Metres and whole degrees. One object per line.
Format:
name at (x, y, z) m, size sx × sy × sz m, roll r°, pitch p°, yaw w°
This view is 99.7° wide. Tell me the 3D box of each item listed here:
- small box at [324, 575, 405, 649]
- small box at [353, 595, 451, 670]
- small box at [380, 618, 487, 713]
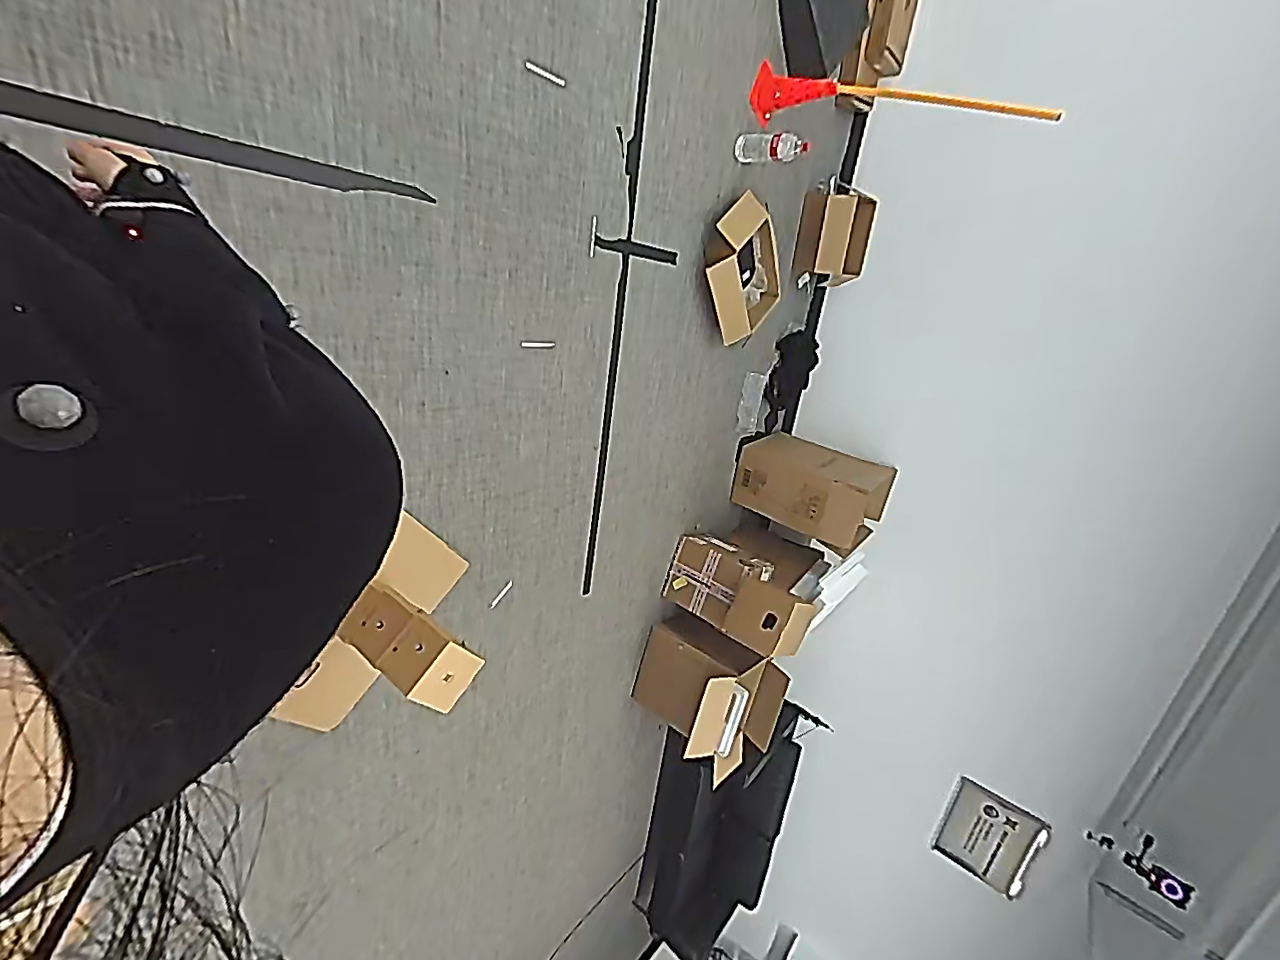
small box at (-0.820, 0.417, 1.663) m, size 0.168 × 0.176 × 0.179 m, roll -56°, pitch 143°, yaw -16°
small box at (-0.688, 0.458, 1.571) m, size 0.168 × 0.176 × 0.179 m, roll -54°, pitch 144°, yaw -17°
small box at (-0.564, 0.501, 1.475) m, size 0.168 × 0.176 × 0.179 m, roll -54°, pitch 144°, yaw -19°
